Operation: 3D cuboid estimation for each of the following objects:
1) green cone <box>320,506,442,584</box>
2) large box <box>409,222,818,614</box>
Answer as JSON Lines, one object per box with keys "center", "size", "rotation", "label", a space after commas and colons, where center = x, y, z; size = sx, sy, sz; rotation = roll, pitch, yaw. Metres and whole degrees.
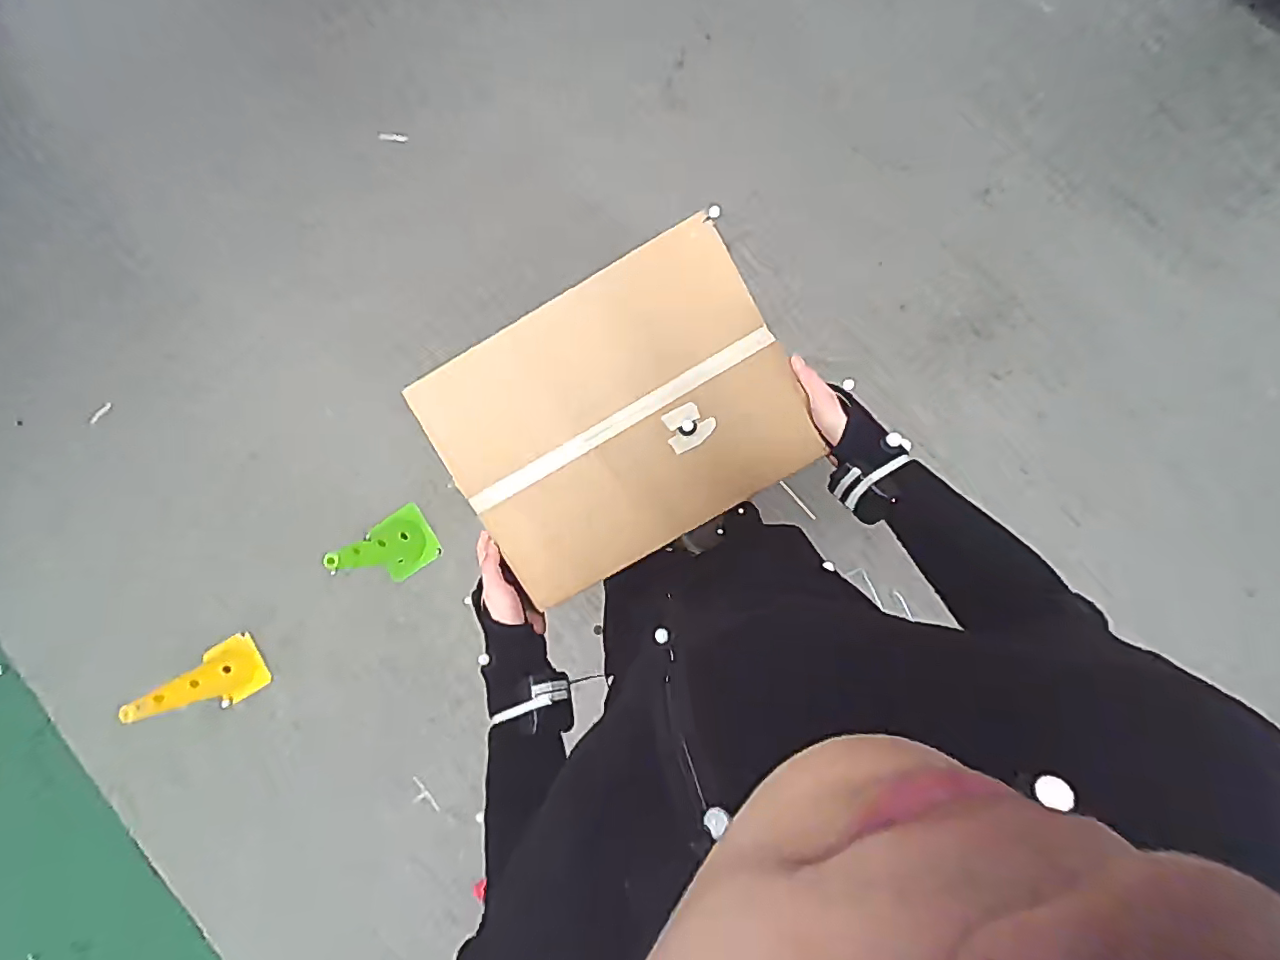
{"center": [-0.786, 0.215, 1.580], "size": [0.202, 0.368, 0.200], "rotation": [-35, 86, 8], "label": "green cone"}
{"center": [-0.032, -0.079, 0.789], "size": [0.408, 0.320, 0.320], "rotation": [-32, 96, 3], "label": "large box"}
